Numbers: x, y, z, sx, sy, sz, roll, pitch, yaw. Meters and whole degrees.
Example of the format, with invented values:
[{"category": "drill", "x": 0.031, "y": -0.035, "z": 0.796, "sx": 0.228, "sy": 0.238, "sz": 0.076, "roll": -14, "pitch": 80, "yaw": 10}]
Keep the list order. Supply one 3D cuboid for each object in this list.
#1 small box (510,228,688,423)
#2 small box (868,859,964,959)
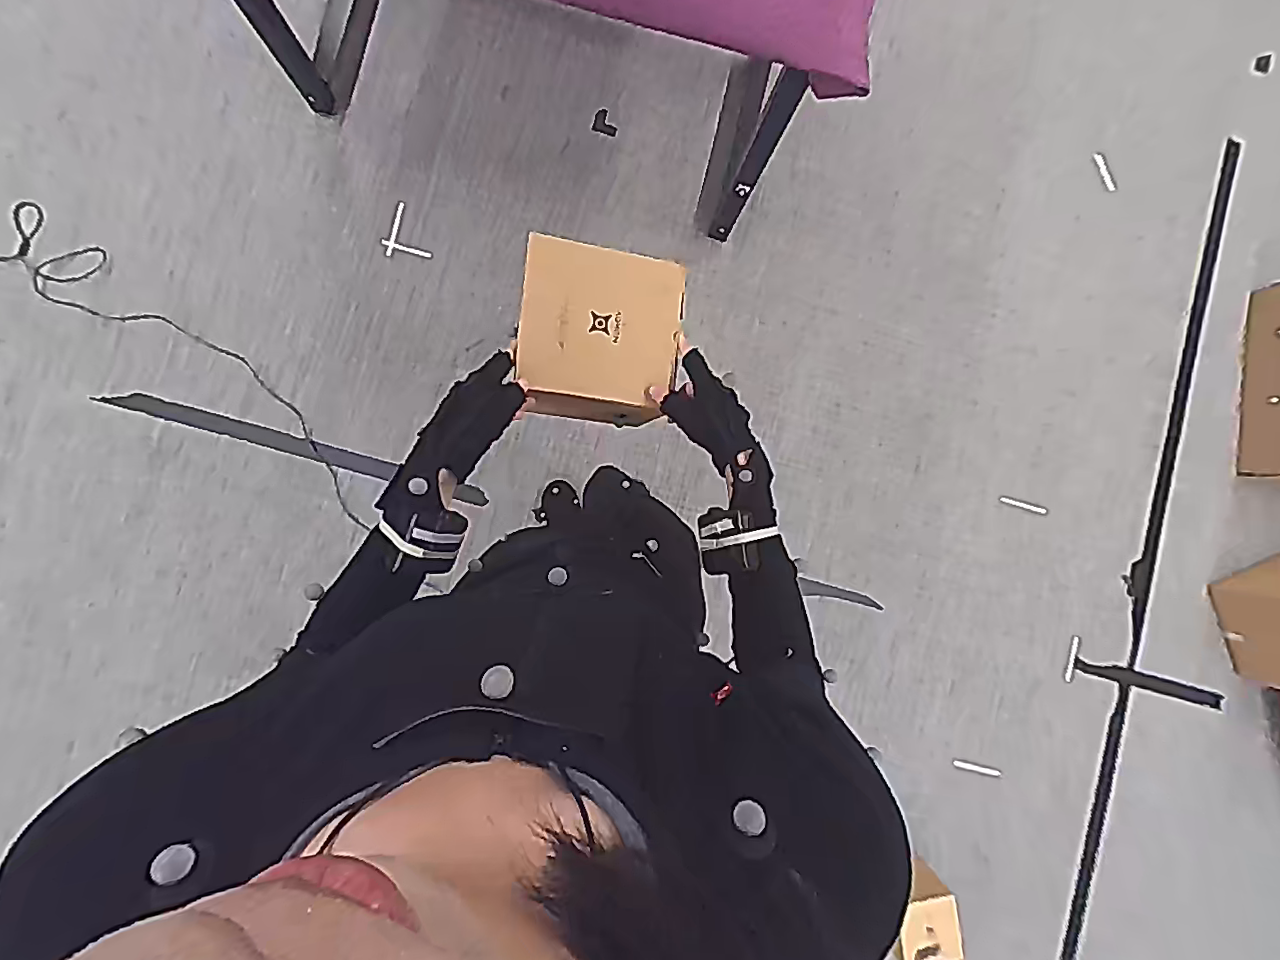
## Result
[{"category": "small box", "x": -0.057, "y": -0.166, "z": 0.645, "sx": 0.179, "sy": 0.176, "sz": 0.168, "roll": 5, "pitch": 86, "yaw": -13}, {"category": "small box", "x": 0.752, "y": 1.195, "z": 1.486, "sx": 0.168, "sy": 0.176, "sz": 0.179, "roll": -7, "pitch": 88, "yaw": -6}]
